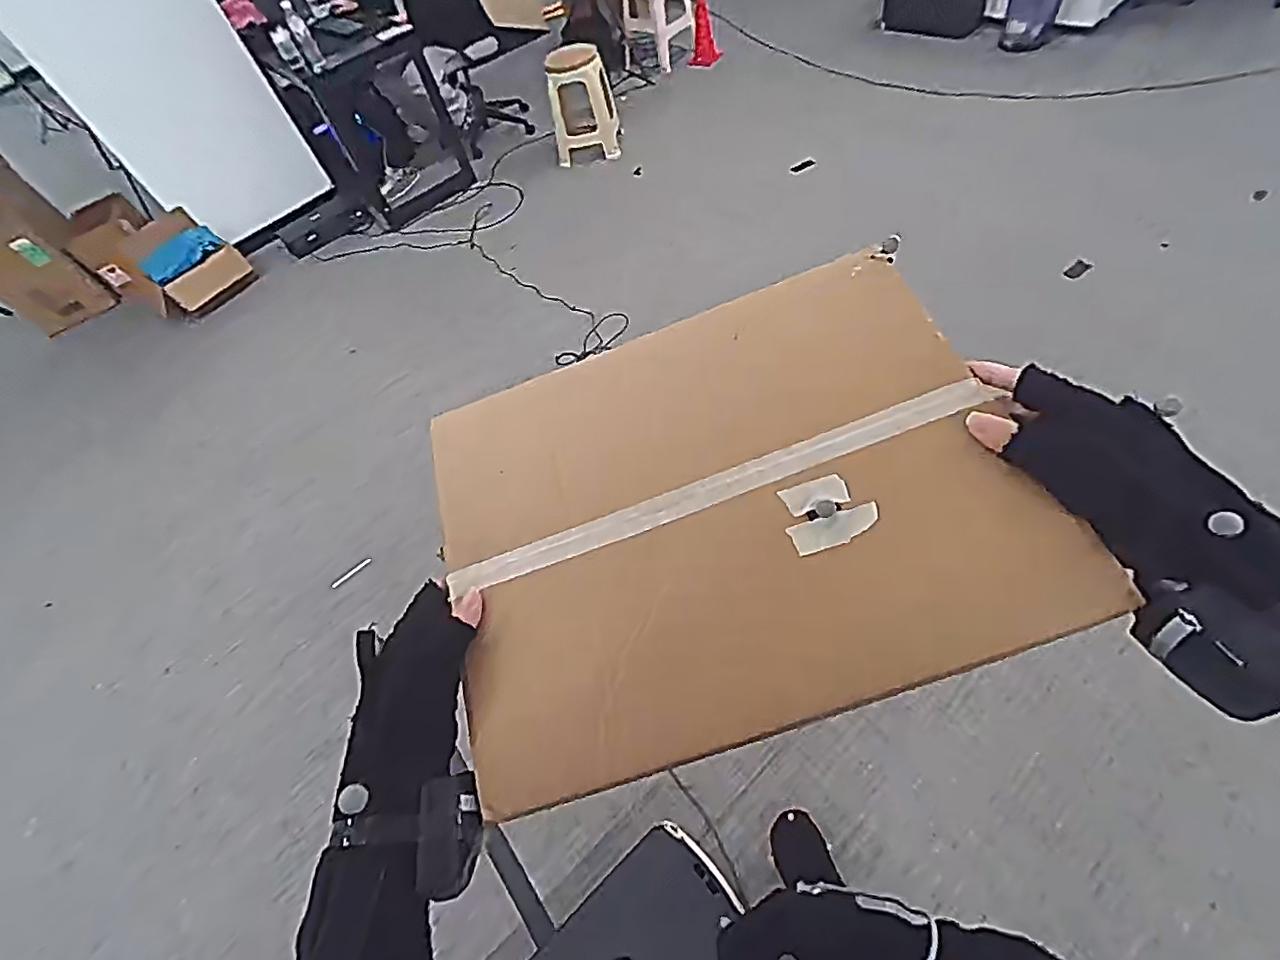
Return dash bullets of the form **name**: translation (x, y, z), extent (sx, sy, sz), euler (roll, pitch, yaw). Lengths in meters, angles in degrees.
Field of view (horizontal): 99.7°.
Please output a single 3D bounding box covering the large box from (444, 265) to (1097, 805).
- **large box**: translation (0.081, 0.074, 0.536), extent (0.408, 0.320, 0.320), euler (-21, 63, 3)
